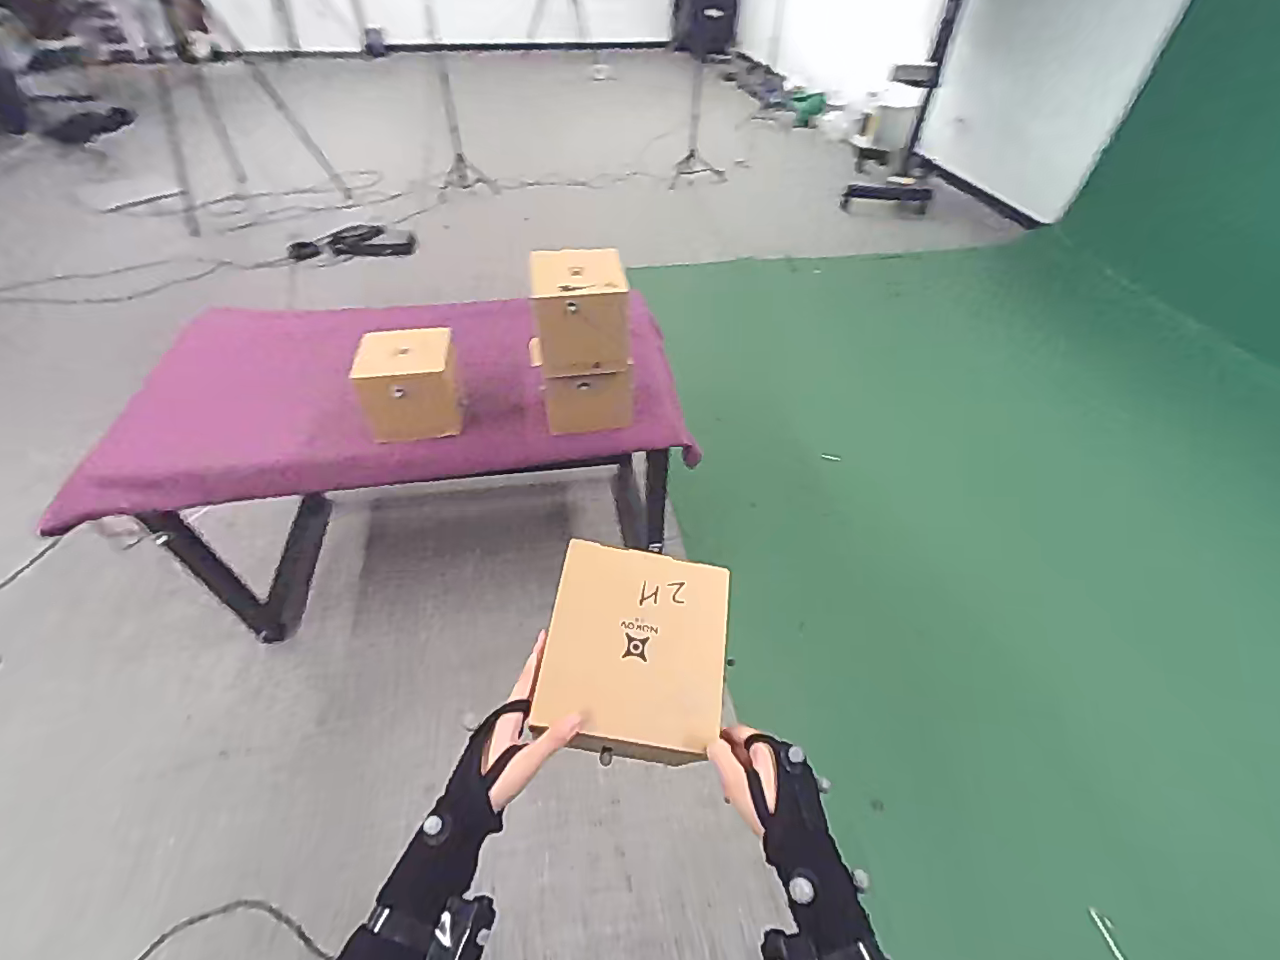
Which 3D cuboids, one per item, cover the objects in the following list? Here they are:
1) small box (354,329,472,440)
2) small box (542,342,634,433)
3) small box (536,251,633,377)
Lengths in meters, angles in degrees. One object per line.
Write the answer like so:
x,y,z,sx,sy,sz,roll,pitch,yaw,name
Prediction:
-0.468,-0.198,1.142,0.179,0.176,0.168,-5,46,-7,small box
-0.110,-0.218,1.167,0.179,0.176,0.168,-8,48,-8,small box
-0.107,-0.317,1.036,0.168,0.176,0.179,-6,47,-6,small box
